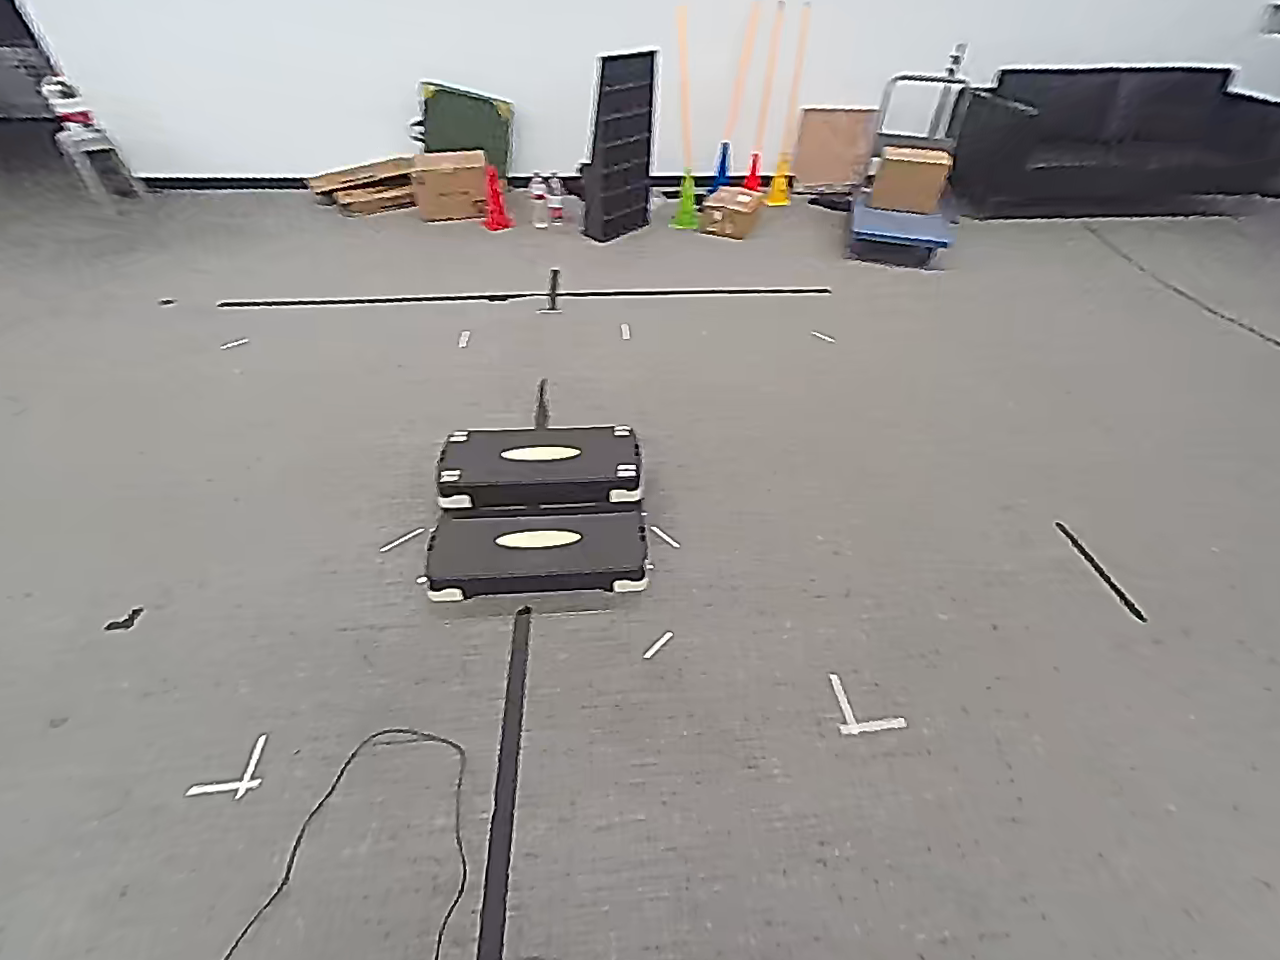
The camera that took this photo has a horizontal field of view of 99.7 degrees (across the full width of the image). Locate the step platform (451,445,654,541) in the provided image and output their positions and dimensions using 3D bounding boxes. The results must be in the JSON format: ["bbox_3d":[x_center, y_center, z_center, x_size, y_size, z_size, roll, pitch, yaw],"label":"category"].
[{"bbox_3d":[-0.292,0.039,1.875,0.684,0.204,0.286,2,43,-1],"label":"step platform"}]
